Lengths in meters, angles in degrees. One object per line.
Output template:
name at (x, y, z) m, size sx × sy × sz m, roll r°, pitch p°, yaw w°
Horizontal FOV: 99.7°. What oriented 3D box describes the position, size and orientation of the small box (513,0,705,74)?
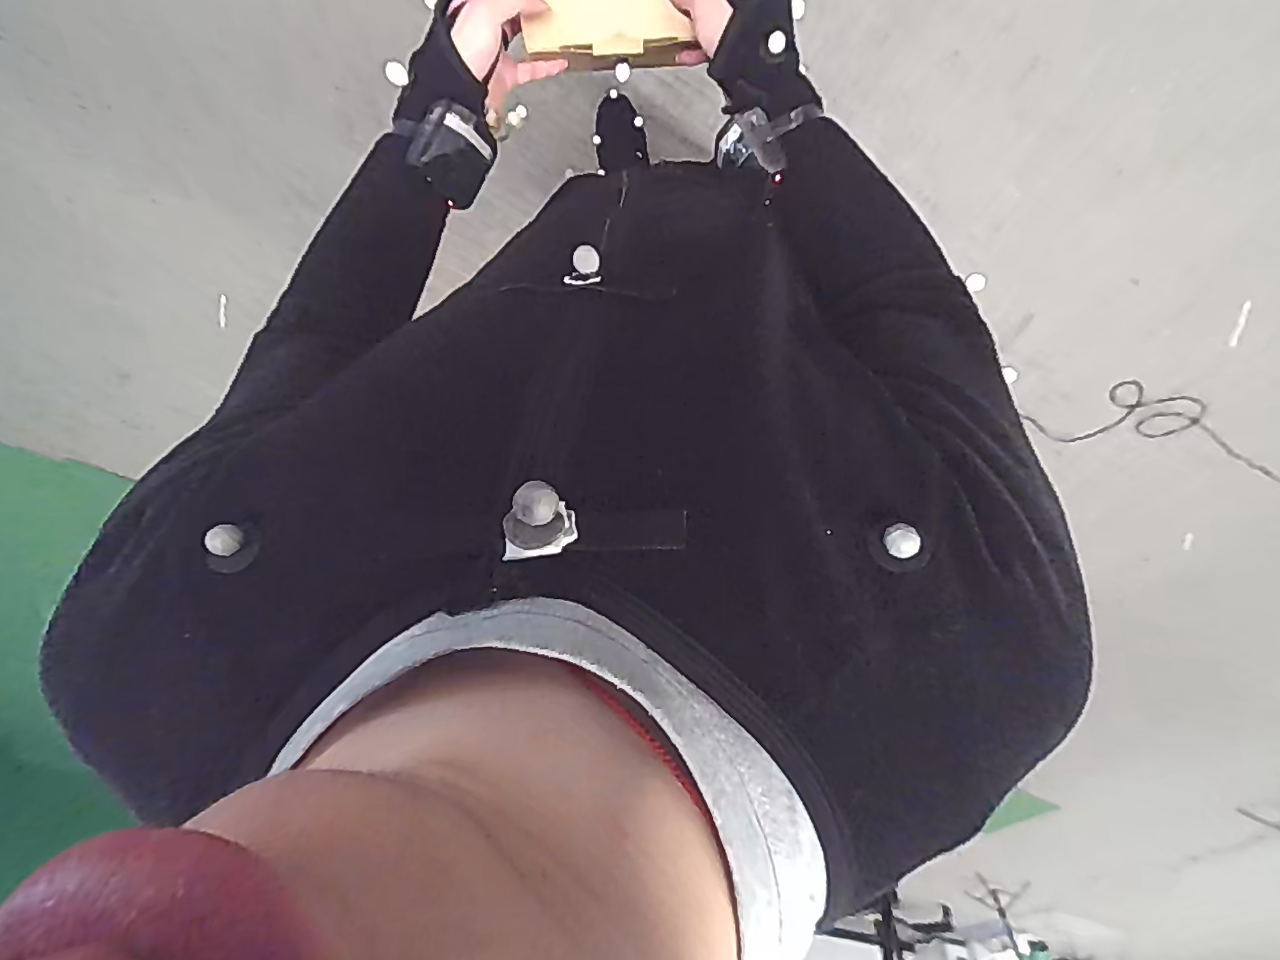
small box at (-0.023, -0.485, 0.492) m, size 0.168 × 0.176 × 0.179 m, roll -1°, pitch 121°, yaw 4°
